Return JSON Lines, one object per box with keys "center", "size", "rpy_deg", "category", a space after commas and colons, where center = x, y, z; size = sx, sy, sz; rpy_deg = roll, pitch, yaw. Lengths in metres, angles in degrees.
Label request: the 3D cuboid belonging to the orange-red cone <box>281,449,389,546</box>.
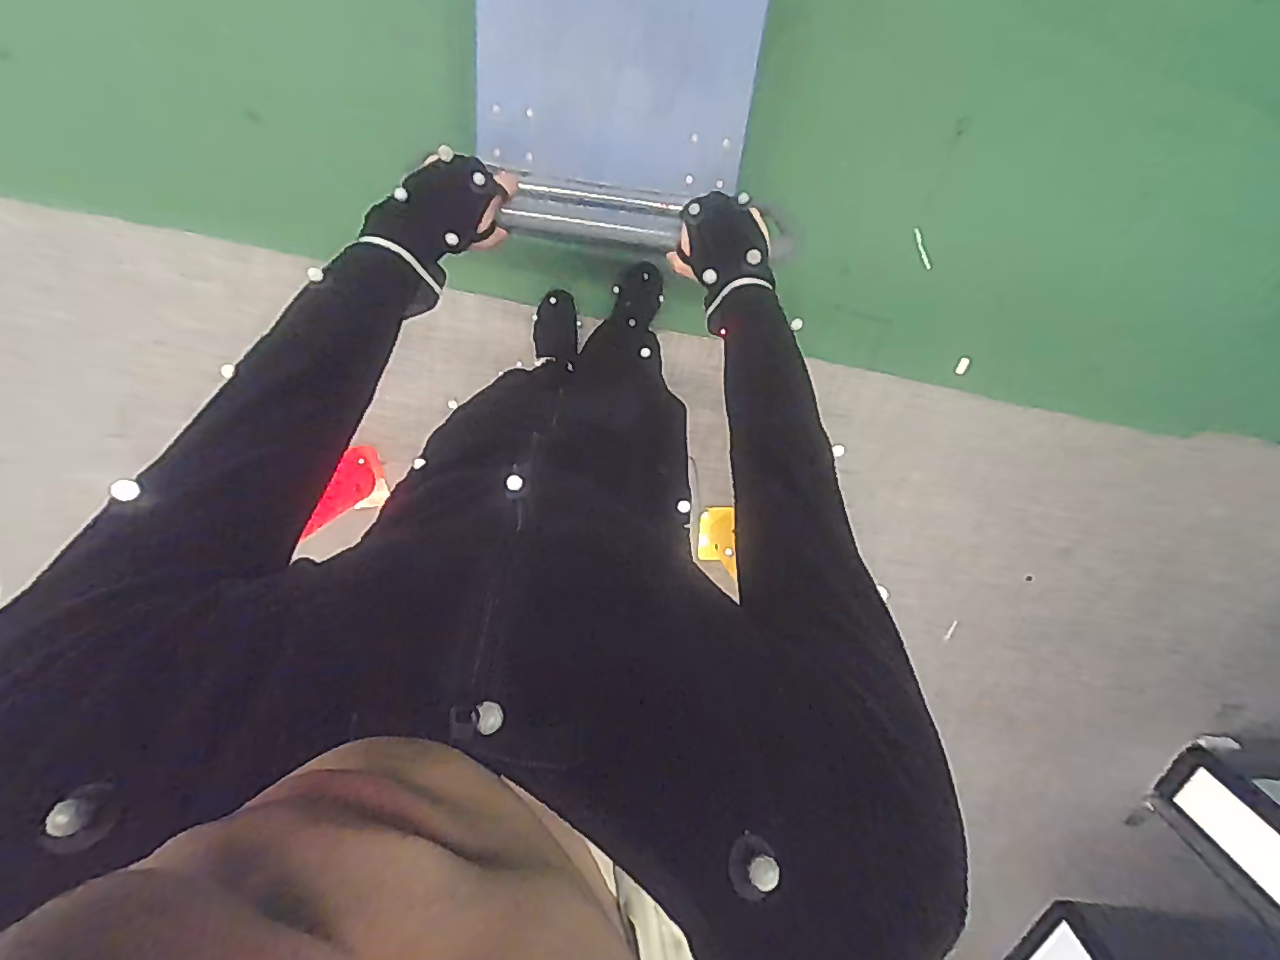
{"center": [-0.856, 0.073, 1.460], "size": [0.199, 0.360, 0.198], "rpy_deg": [-4, 114, -1], "category": "orange-red cone"}
